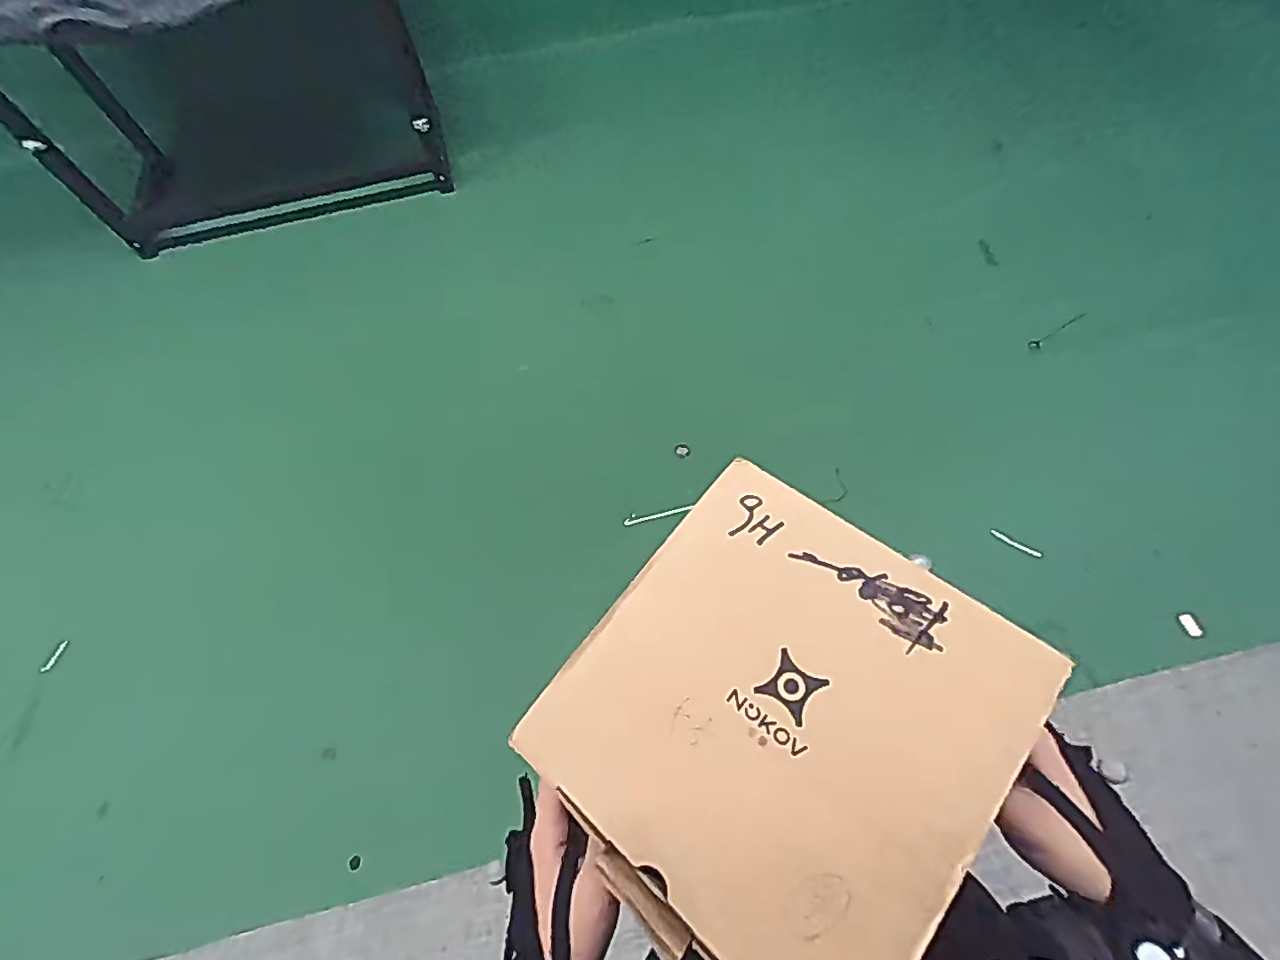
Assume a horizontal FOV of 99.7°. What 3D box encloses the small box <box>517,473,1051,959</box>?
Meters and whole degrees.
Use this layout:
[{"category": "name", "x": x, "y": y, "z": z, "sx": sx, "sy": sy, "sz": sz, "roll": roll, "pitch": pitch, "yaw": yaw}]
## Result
[{"category": "small box", "x": 0.070, "y": 0.135, "z": 0.306, "sx": 0.168, "sy": 0.176, "sz": 0.179, "roll": 35, "pitch": 75, "yaw": 23}]
